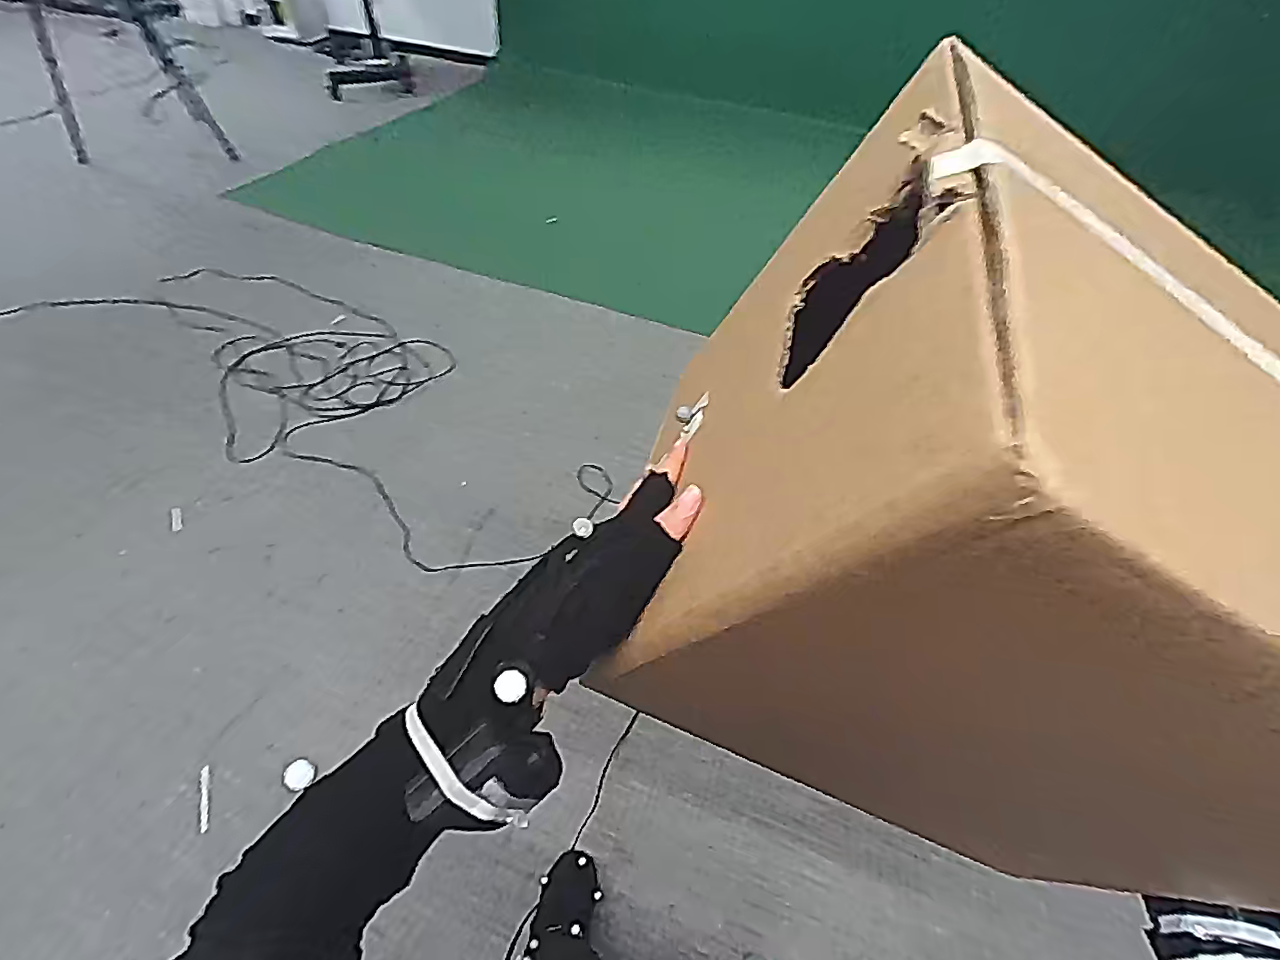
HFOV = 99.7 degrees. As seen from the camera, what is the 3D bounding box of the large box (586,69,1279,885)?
[{"bbox_3d":[0.230,0.038,0.374,0.408,0.320,0.320,28,55,-11],"label":"large box"}]
